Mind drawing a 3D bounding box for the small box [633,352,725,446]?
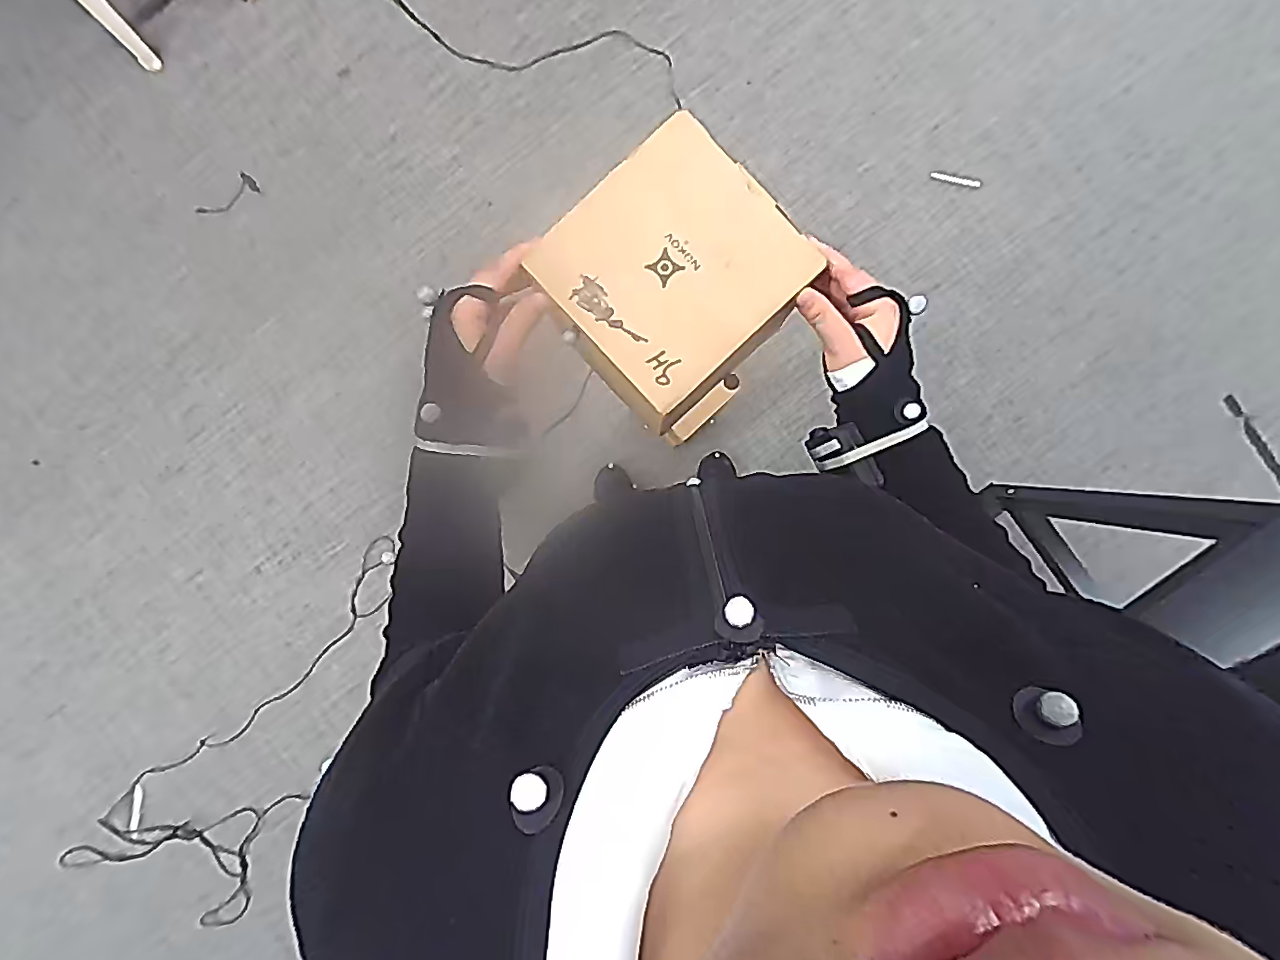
[{"bbox_3d":[0.096,-0.206,1.422,0.179,0.176,0.168,-40,91,2],"label":"small box"}]
